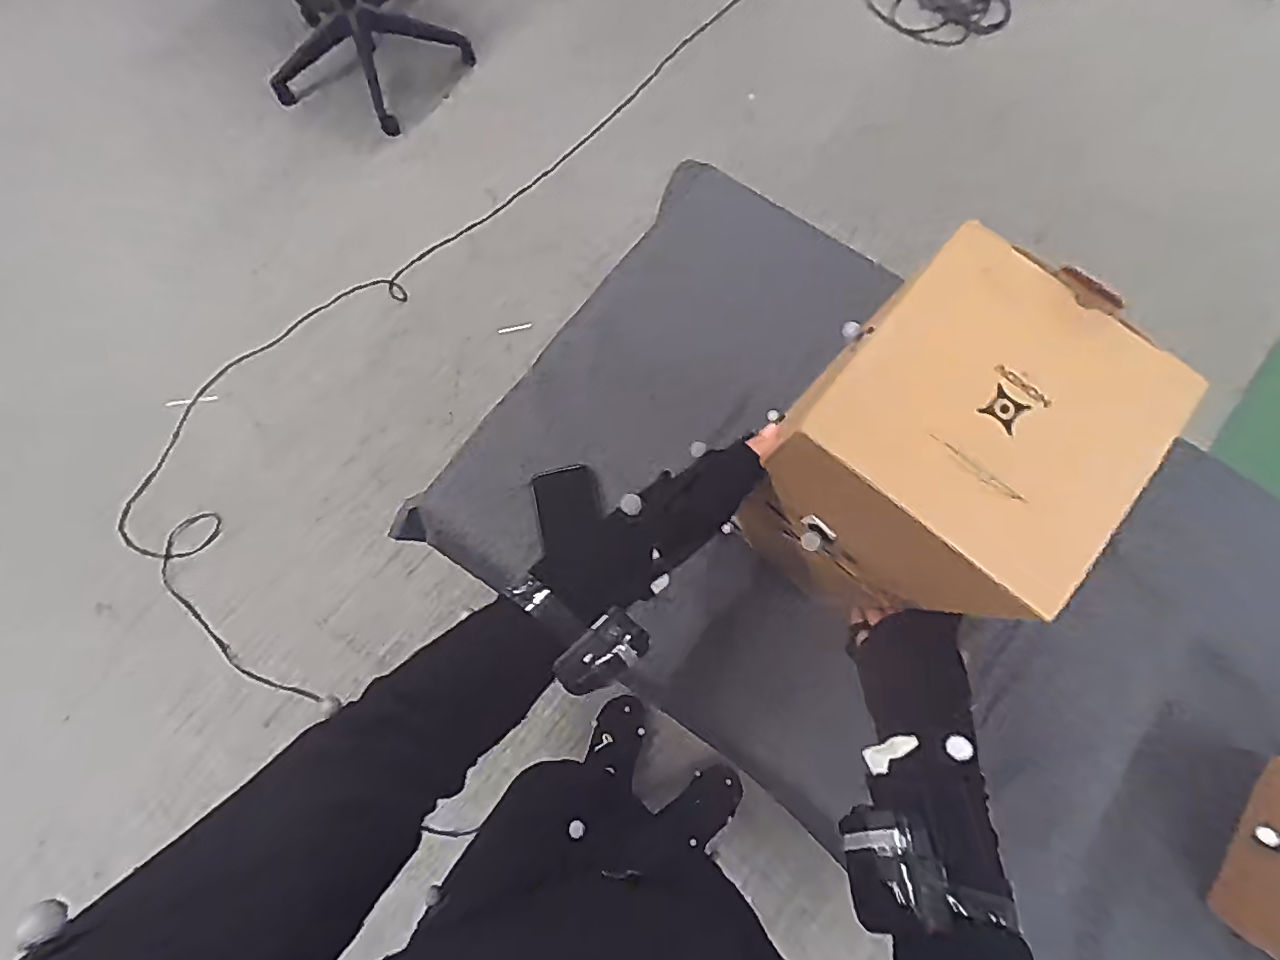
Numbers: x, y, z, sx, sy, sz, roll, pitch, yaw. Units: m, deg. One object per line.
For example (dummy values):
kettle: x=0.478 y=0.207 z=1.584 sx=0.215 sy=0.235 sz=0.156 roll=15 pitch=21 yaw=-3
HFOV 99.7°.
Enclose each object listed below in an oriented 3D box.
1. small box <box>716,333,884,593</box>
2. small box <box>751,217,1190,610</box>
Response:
small box: x=0.193 y=-0.004 z=0.545 sx=0.168 sy=0.176 sz=0.179 roll=41 pitch=80 yaw=5
small box: x=0.201 y=-0.032 z=0.385 sx=0.168 sy=0.176 sz=0.179 roll=38 pitch=82 yaw=6
